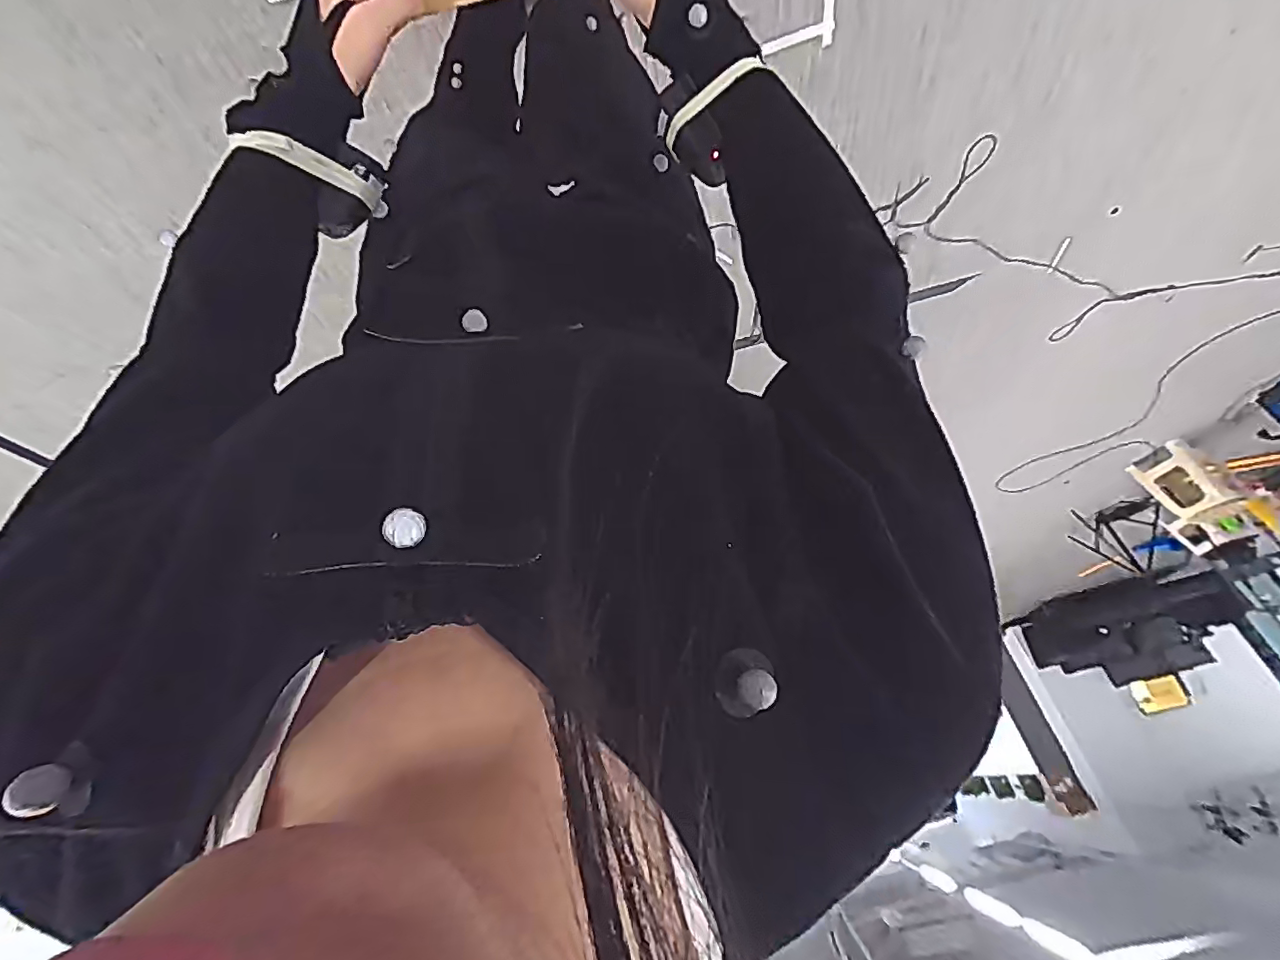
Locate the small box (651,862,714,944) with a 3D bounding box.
[{"bbox_3d":[0.139,1.371,1.764,0.168,0.176,0.179,-16,150,2],"label":"small box"}]

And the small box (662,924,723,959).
[{"bbox_3d":[0.172,1.509,1.683,0.168,0.176,0.179,-15,149,1],"label":"small box"}]
